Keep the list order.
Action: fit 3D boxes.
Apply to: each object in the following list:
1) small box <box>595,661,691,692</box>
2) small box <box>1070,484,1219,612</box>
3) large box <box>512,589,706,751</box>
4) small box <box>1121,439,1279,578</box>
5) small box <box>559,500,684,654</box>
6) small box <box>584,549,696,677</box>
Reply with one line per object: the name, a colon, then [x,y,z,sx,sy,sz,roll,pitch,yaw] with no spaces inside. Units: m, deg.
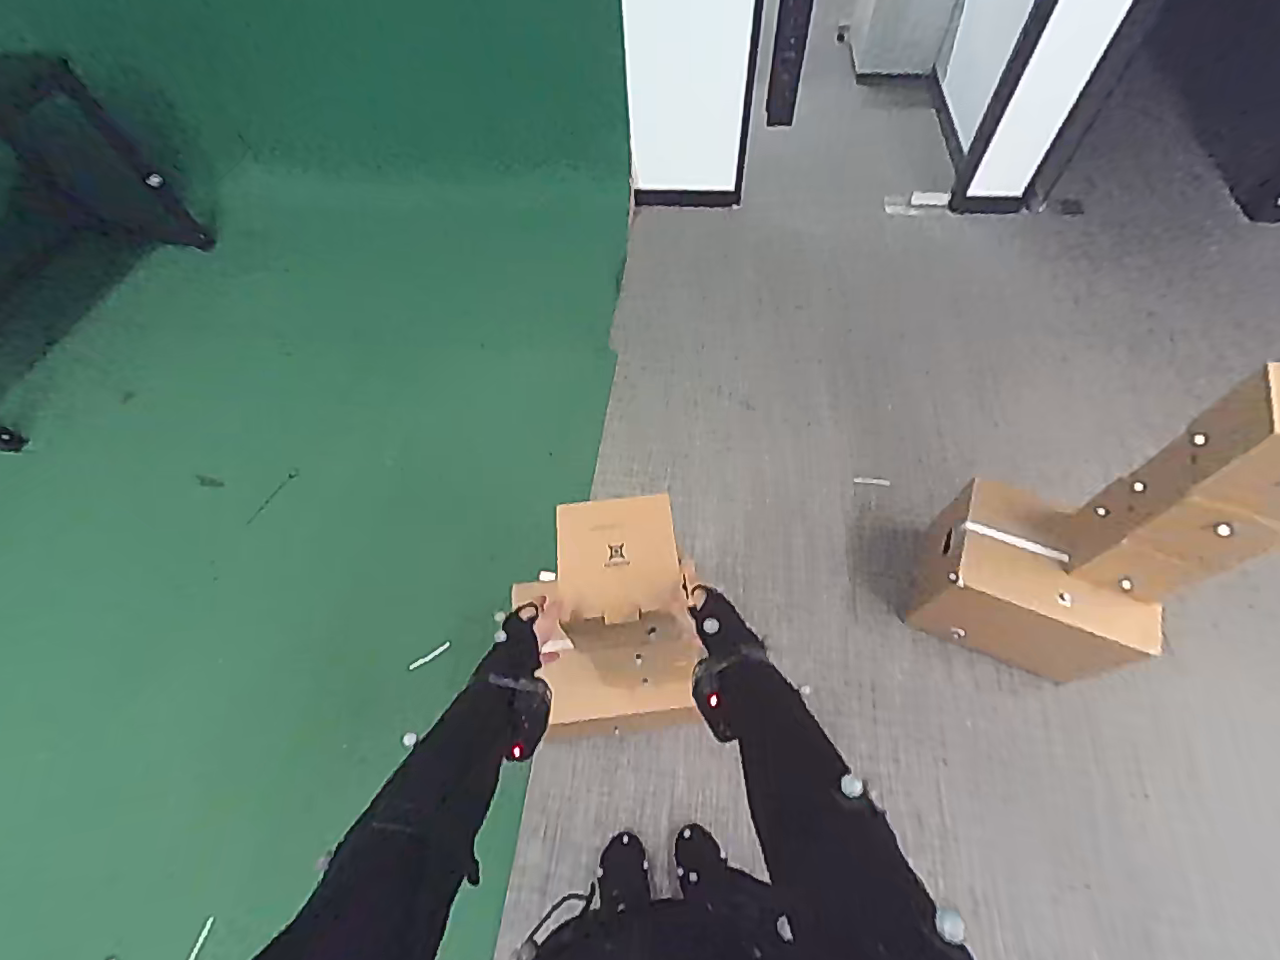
small box: [0.005,0.322,1.082,0.179,0.176,0.168,-3,58,1]
small box: [1.048,0.146,1.137,0.168,0.176,0.179,22,60,16]
large box: [-0.069,0.446,1.298,0.408,0.320,0.320,-7,57,0]
small box: [1.050,0.060,0.999,0.179,0.176,0.168,23,60,17]
small box: [-0.024,0.152,0.804,0.168,0.176,0.179,-6,58,0]
small box: [-0.003,0.236,0.942,0.179,0.176,0.168,-7,58,1]
